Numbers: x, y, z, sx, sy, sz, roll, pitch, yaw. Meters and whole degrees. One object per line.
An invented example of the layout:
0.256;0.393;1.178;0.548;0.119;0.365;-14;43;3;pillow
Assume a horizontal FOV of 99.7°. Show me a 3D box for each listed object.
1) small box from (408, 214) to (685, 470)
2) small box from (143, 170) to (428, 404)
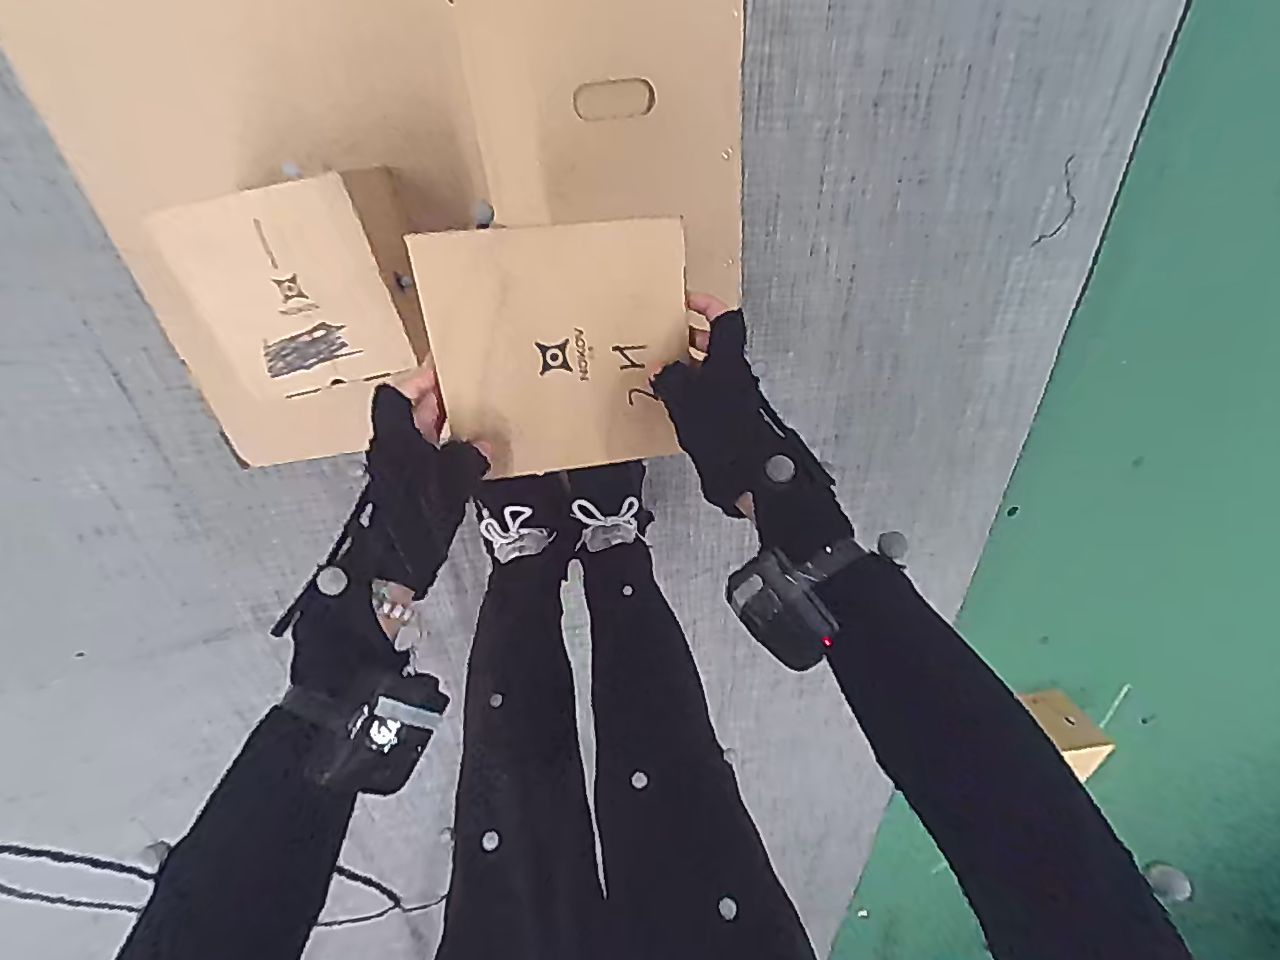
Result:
-0.068;-0.122;0.446;0.179;0.176;0.168;-8;115;-9;small box
-0.325;-0.204;0.555;0.168;0.176;0.179;-14;122;-3;small box
